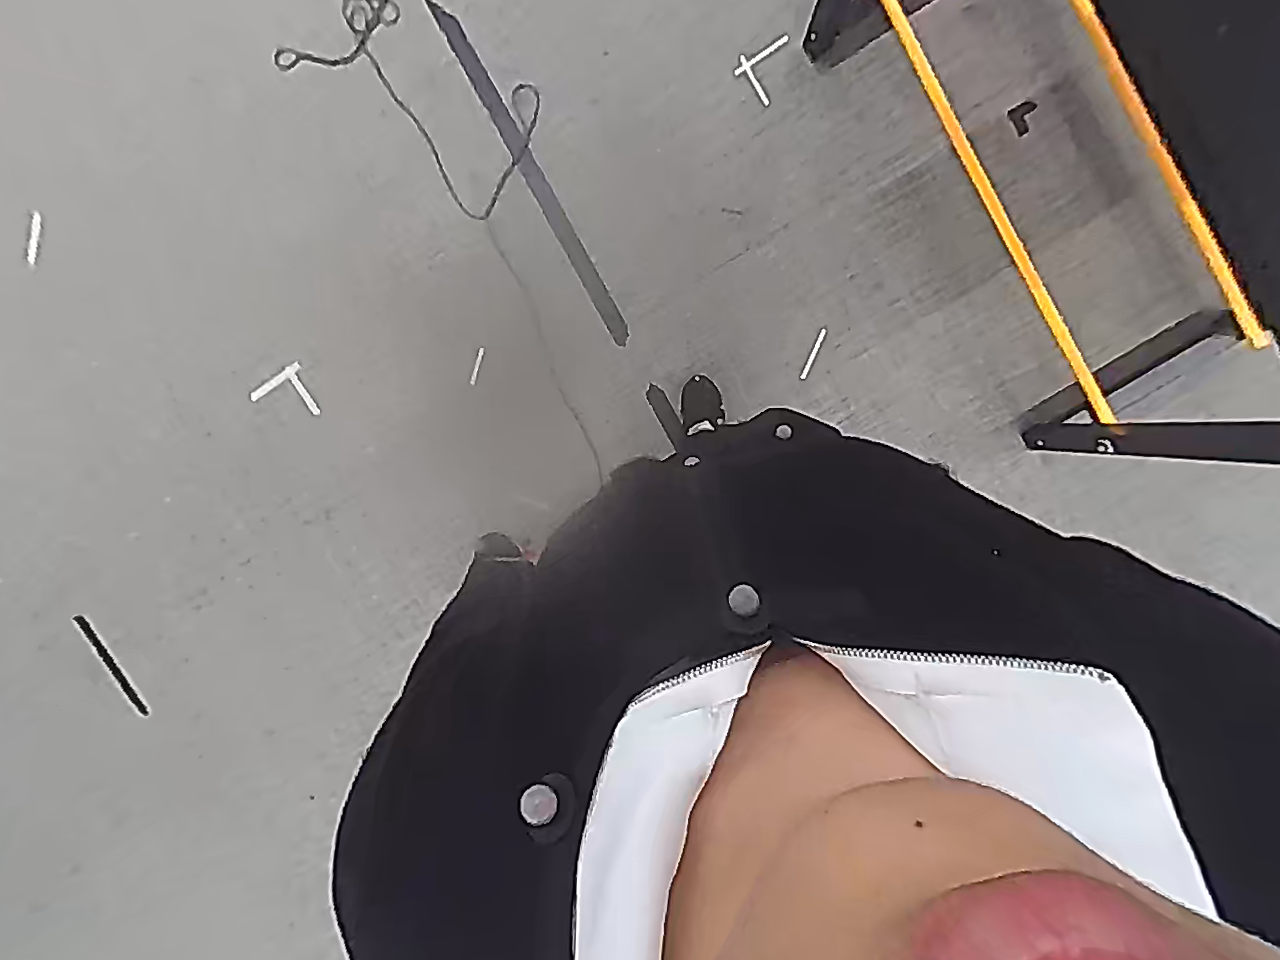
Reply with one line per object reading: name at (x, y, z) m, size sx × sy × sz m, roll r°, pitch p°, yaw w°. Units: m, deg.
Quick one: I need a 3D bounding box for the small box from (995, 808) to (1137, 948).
small box at (1.002, 0.936, 1.287) m, size 0.168 × 0.176 × 0.179 m, roll -31°, pitch 92°, yaw 4°
